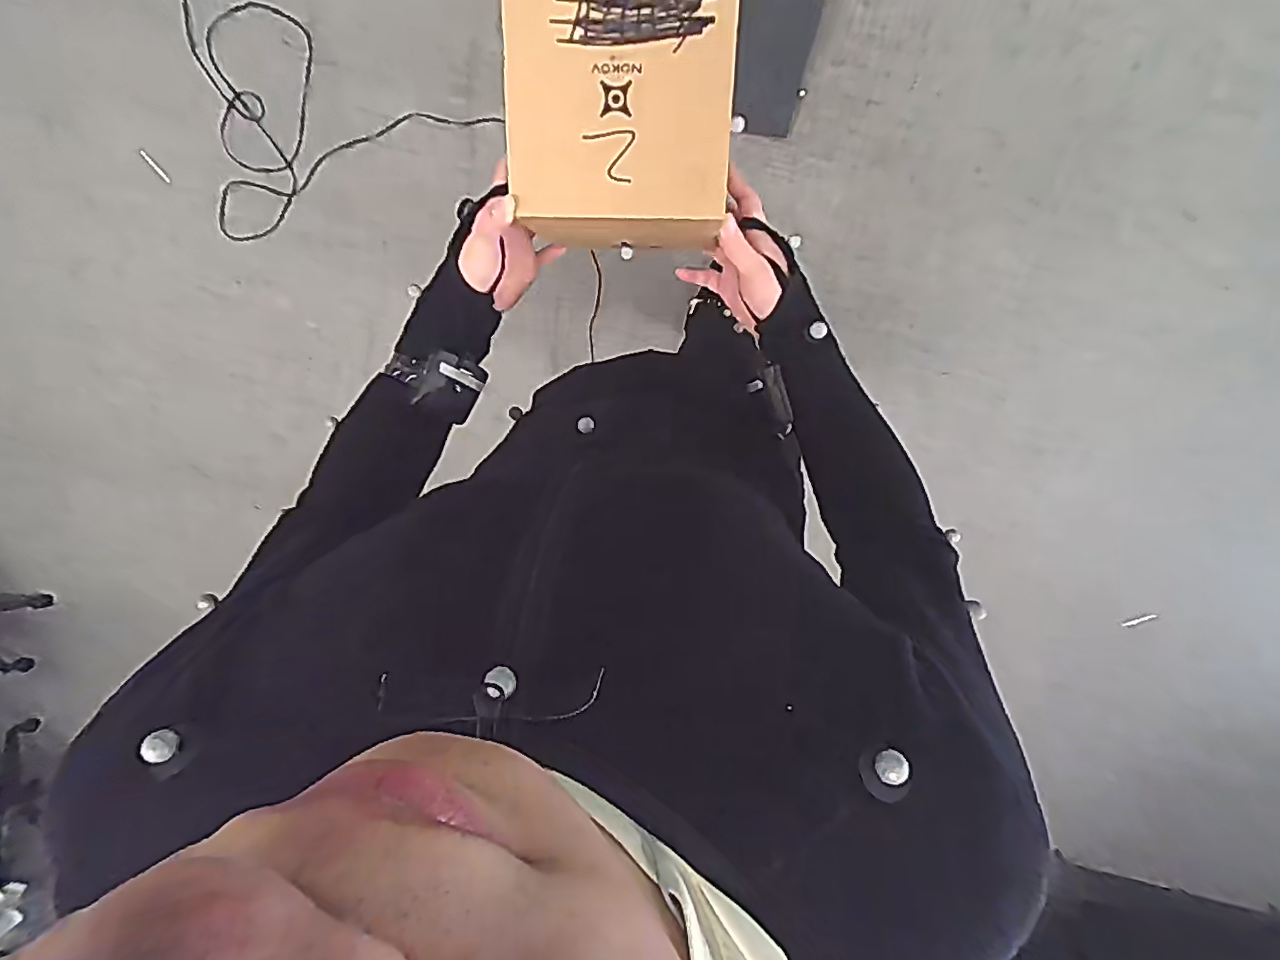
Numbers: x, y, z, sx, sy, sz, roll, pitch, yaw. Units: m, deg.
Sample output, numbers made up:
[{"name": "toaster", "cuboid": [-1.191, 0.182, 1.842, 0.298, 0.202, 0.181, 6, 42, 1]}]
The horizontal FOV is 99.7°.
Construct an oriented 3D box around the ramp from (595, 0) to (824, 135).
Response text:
[{"name": "ramp", "cuboid": [0.211, -1.308, 1.073, 0.509, 0.206, 0.991, 10, 111, 1]}]
